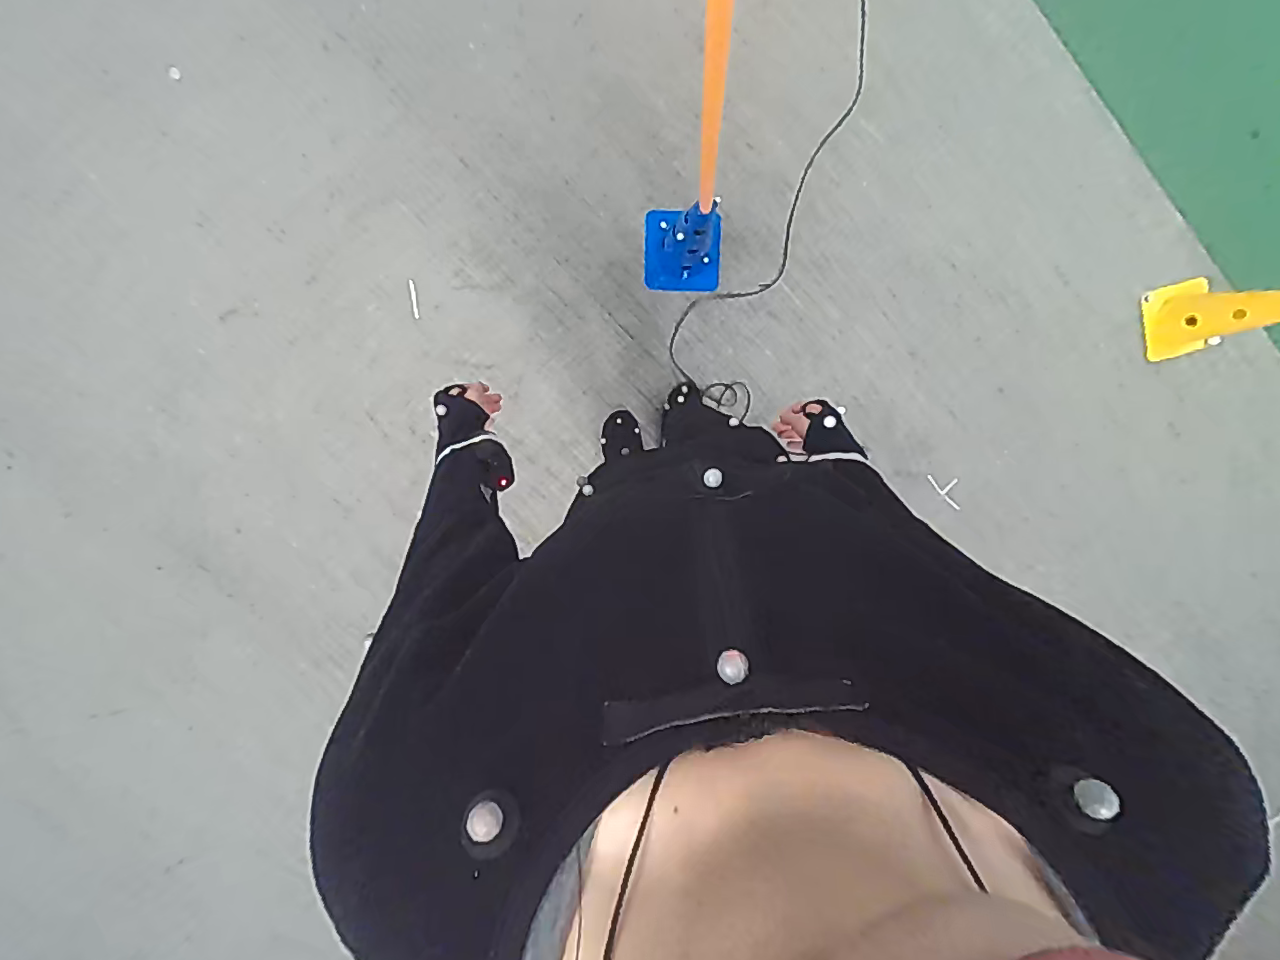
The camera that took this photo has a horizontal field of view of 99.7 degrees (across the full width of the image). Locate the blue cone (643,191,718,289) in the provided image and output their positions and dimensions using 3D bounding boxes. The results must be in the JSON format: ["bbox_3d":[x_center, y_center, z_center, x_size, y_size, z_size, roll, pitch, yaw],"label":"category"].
[{"bbox_3d":[0.112,-0.566,1.236,0.193,0.380,0.192,-1,100,-2],"label":"blue cone"}]
